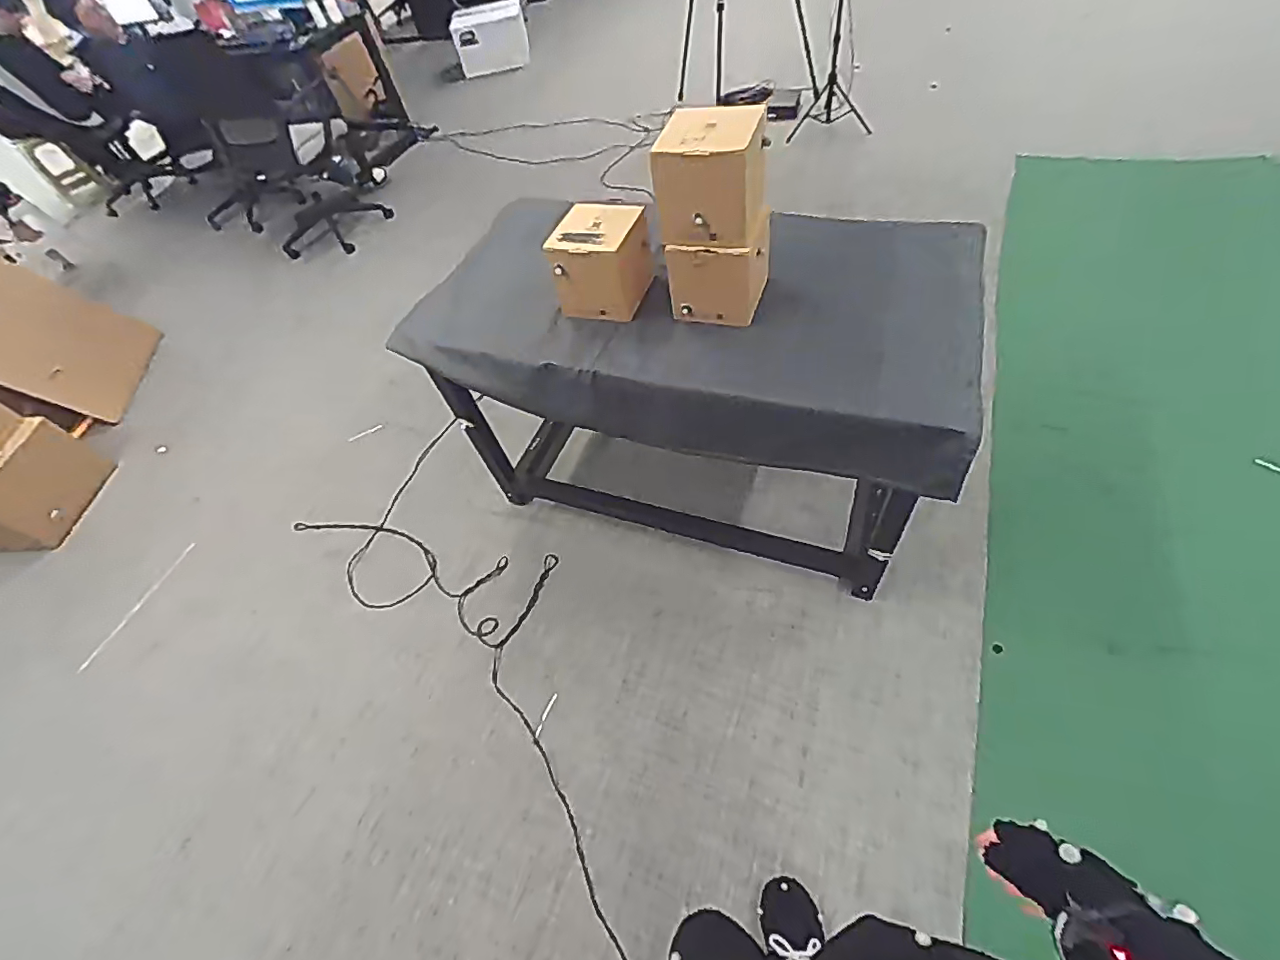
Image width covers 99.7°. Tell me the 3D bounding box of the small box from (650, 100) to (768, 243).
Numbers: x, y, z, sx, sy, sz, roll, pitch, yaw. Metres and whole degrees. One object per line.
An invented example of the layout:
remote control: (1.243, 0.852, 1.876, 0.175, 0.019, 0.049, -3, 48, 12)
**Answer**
small box: (0.131, -0.558, 0.984, 0.168, 0.176, 0.179, 10, 58, 19)

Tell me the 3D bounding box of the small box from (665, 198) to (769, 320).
small box: (0.164, -0.450, 1.104, 0.168, 0.176, 0.179, 12, 57, 19)
